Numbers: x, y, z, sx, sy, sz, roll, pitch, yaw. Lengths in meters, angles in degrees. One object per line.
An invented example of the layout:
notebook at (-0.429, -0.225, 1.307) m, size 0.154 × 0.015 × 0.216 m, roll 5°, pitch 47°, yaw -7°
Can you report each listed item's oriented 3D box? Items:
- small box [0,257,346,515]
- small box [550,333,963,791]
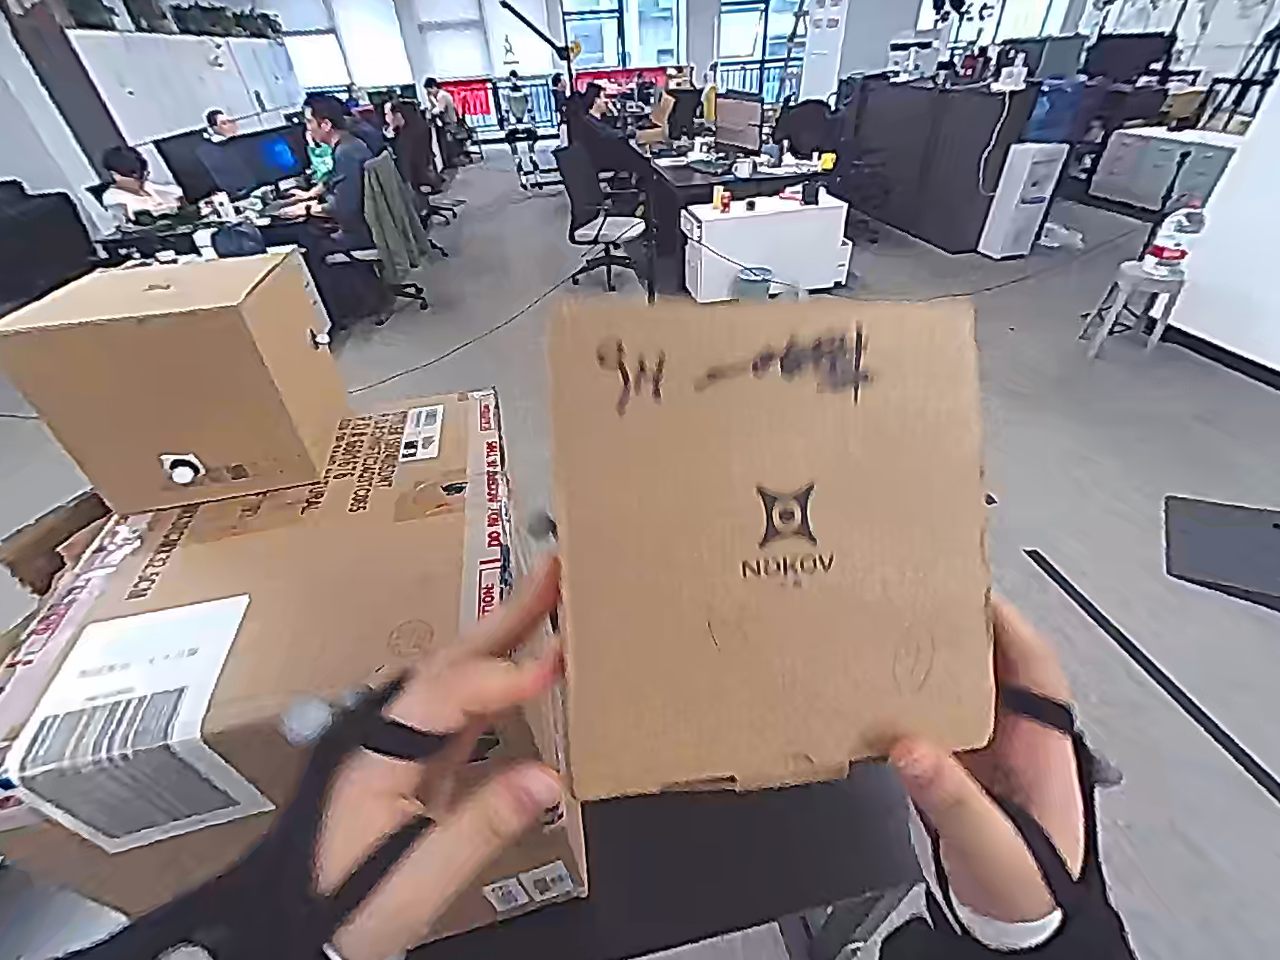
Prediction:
small box at (-0.397, -0.094, 0.507) m, size 0.168 × 0.176 × 0.179 m, roll -13°, pitch 38°, yaw -12°
small box at (0.039, 0.029, 0.292) m, size 0.168 × 0.179 × 0.176 m, roll -2°, pitch -1°, yaw -8°
